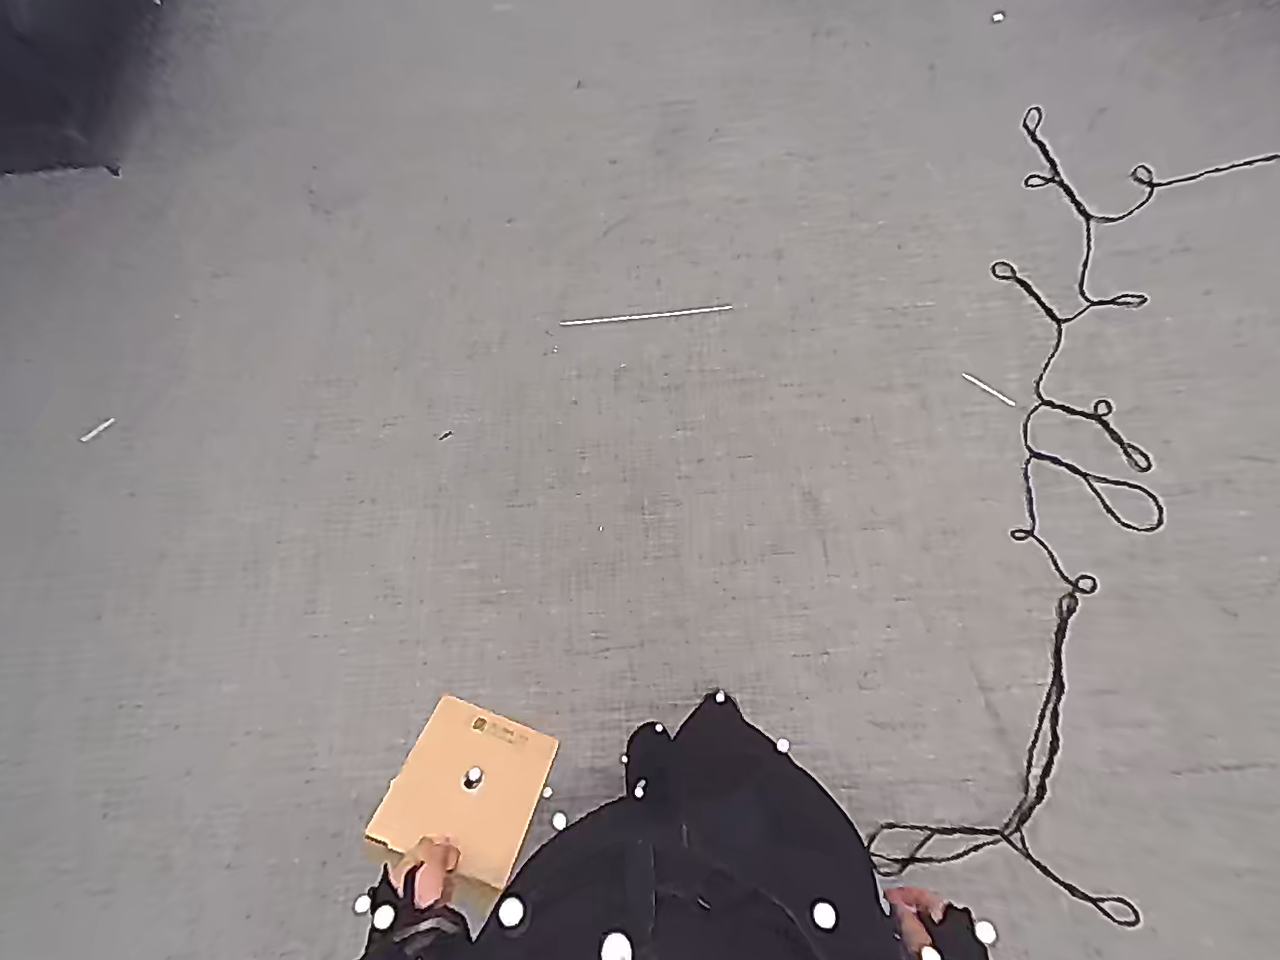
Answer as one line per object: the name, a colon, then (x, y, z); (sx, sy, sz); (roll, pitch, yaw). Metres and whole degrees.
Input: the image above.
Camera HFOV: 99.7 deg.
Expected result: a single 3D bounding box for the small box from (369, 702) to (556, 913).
small box: (-0.221, 0.417, 0.697); (0.168, 0.179, 0.176); (22, 42, 0)
